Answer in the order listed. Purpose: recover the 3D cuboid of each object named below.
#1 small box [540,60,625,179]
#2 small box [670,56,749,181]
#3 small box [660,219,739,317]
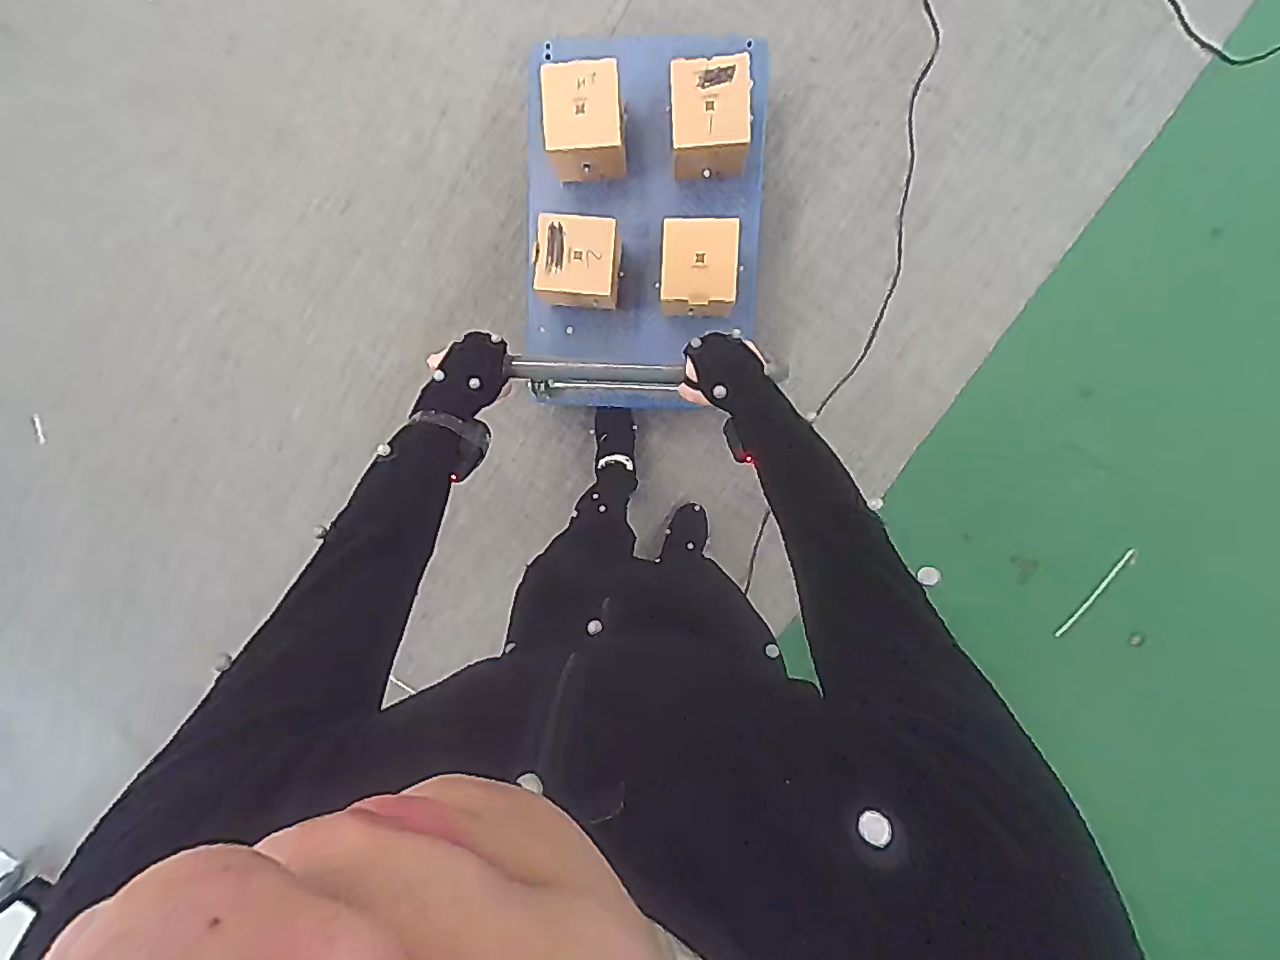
[{"bbox_3d":[-0.124,-0.804,1.228,0.168,0.176,0.179,-2,98,3],"label":"small box"},{"bbox_3d":[0.151,-0.800,1.211,0.168,0.176,0.179,-2,99,4],"label":"small box"},{"bbox_3d":[0.133,-0.486,1.257,0.168,0.176,0.179,2,98,3],"label":"small box"}]
